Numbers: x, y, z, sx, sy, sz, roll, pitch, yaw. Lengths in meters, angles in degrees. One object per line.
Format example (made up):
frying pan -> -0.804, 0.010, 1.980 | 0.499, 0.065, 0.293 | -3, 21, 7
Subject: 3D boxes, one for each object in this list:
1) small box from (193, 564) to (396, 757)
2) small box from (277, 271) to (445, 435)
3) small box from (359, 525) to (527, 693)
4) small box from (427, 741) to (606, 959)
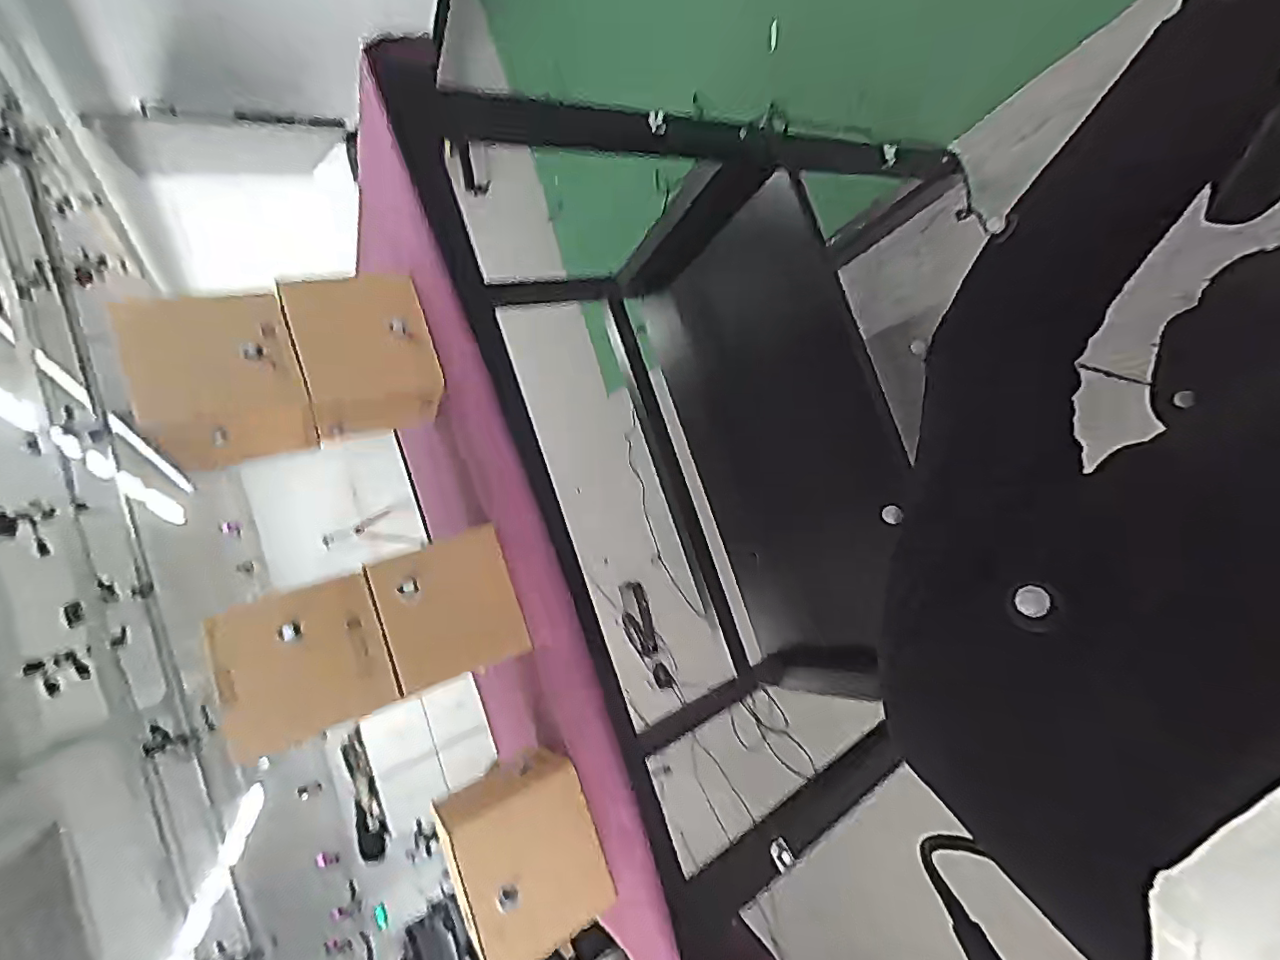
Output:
small box -> -0.416, 0.211, 0.677 | 0.179, 0.176, 0.168 | -27, 80, 59
small box -> -0.400, -0.182, 0.784 | 0.168, 0.176, 0.179 | -28, 80, 60
small box -> -0.279, 0.170, 0.754 | 0.168, 0.176, 0.179 | -26, 82, 59
small box -> -0.166, 0.479, 0.716 | 0.168, 0.176, 0.179 | -32, 75, 58
